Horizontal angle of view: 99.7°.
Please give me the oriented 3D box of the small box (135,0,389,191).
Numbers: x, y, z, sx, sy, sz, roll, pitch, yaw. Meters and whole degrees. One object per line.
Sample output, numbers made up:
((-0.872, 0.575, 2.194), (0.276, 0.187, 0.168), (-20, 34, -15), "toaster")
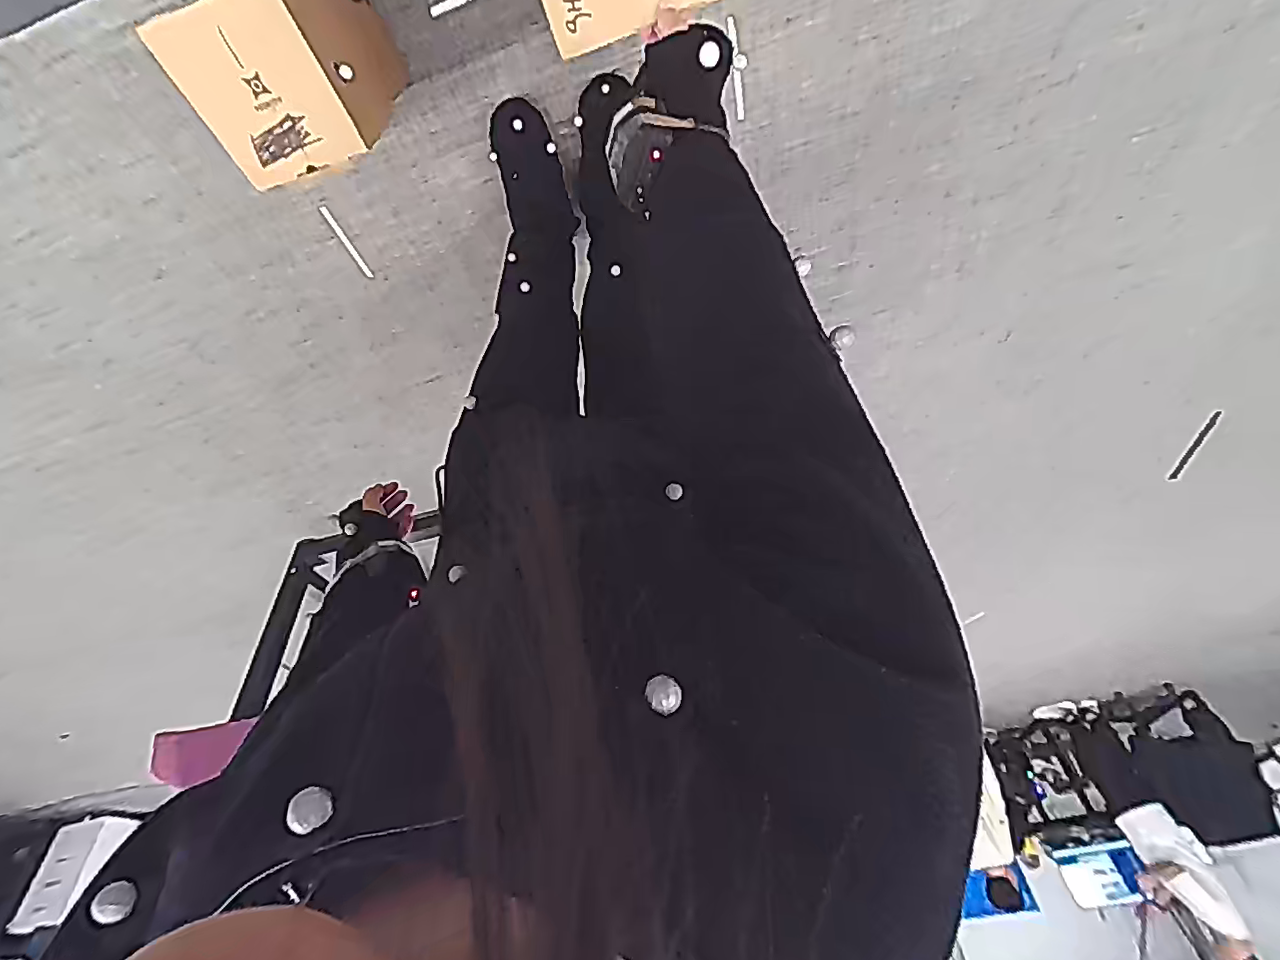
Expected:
((-0.448, -0.506, 0.681), (0.168, 0.176, 0.179), (-15, 137, 7), "small box")

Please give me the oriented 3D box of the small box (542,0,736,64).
((-0.013, -0.513, 0.480), (0.179, 0.176, 0.168), (-12, 136, 12), "small box")

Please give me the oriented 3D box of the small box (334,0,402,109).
((-0.473, -0.628, 0.789), (0.179, 0.176, 0.168), (-16, 138, 10), "small box")
